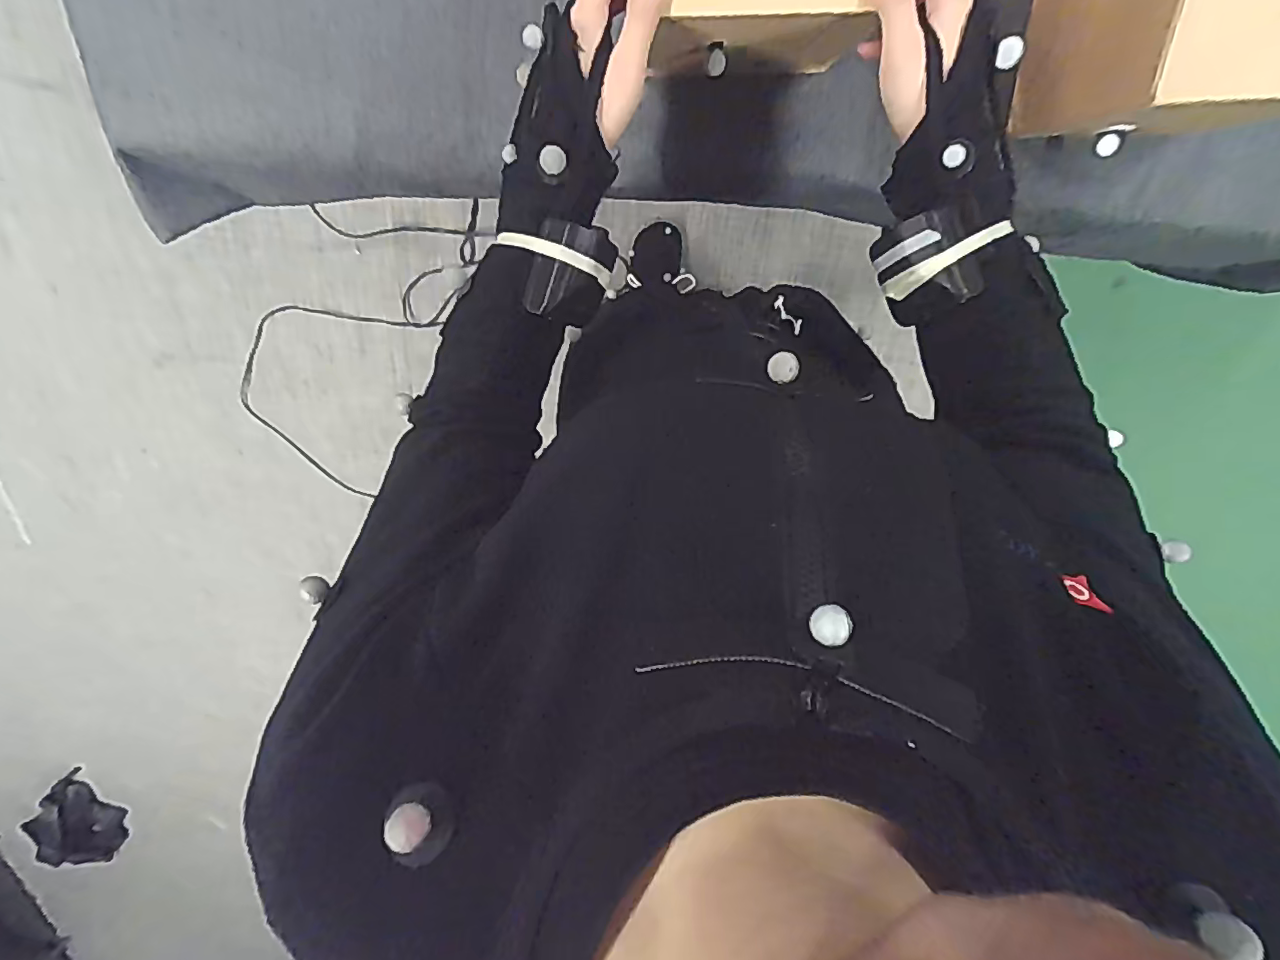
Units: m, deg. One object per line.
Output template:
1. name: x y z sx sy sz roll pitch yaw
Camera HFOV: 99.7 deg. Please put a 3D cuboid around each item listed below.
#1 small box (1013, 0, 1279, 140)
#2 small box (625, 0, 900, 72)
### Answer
1. small box: 0.398 -0.349 0.369 0.168 0.176 0.179 -1 116 3
2. small box: 0.075 -0.389 0.356 0.168 0.176 0.179 -1 116 2
